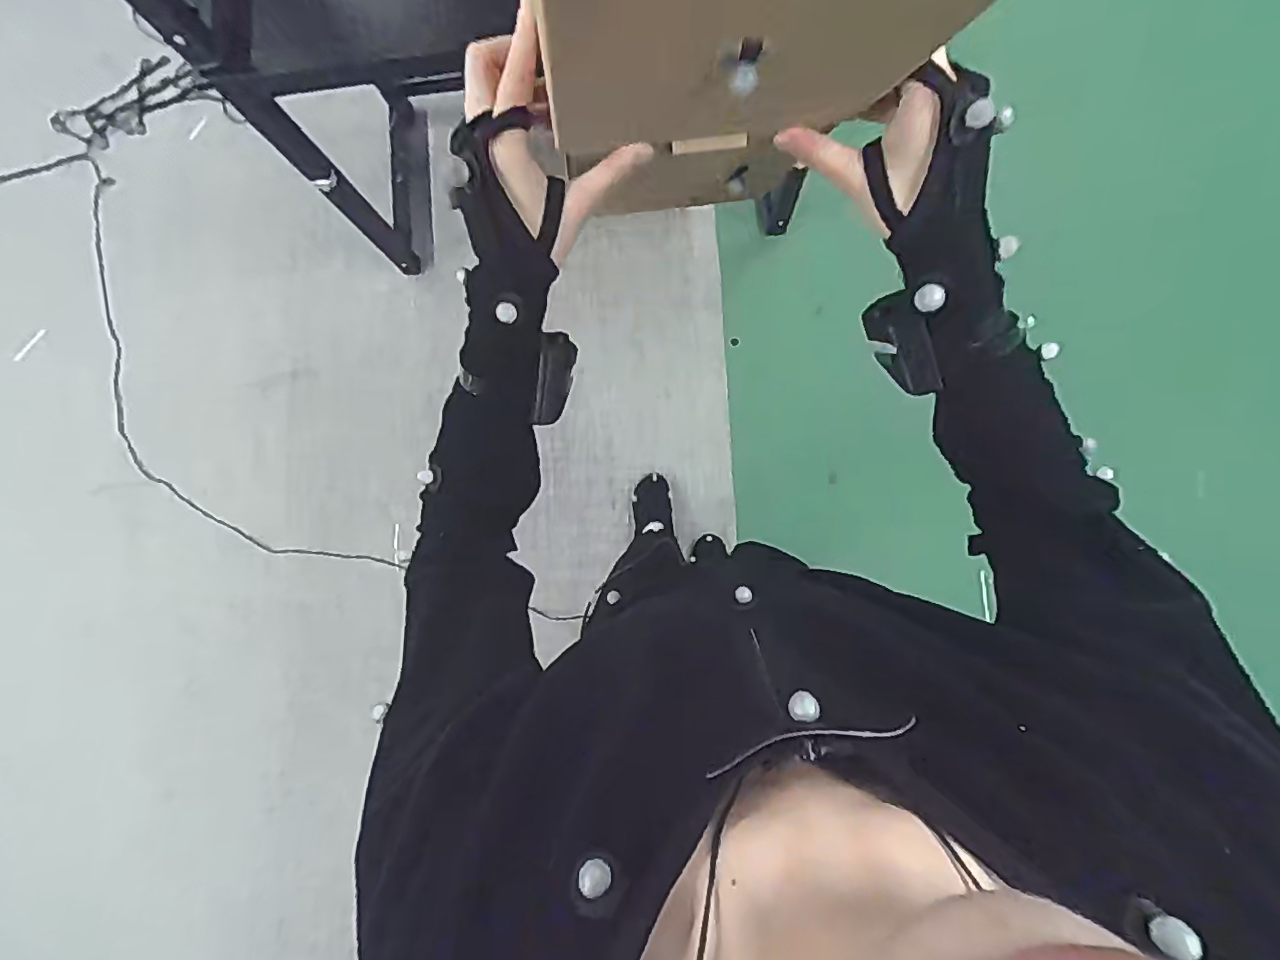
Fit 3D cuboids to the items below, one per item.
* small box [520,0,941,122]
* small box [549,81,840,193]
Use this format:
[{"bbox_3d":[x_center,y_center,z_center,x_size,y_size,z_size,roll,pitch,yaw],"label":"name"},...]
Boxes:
[{"bbox_3d":[0.032,-0.261,0.200,0.179,0.176,0.168,-9,104,-4],"label":"small box"},{"bbox_3d":[0.017,-0.305,0.356,0.168,0.176,0.179,-8,104,-4],"label":"small box"}]
